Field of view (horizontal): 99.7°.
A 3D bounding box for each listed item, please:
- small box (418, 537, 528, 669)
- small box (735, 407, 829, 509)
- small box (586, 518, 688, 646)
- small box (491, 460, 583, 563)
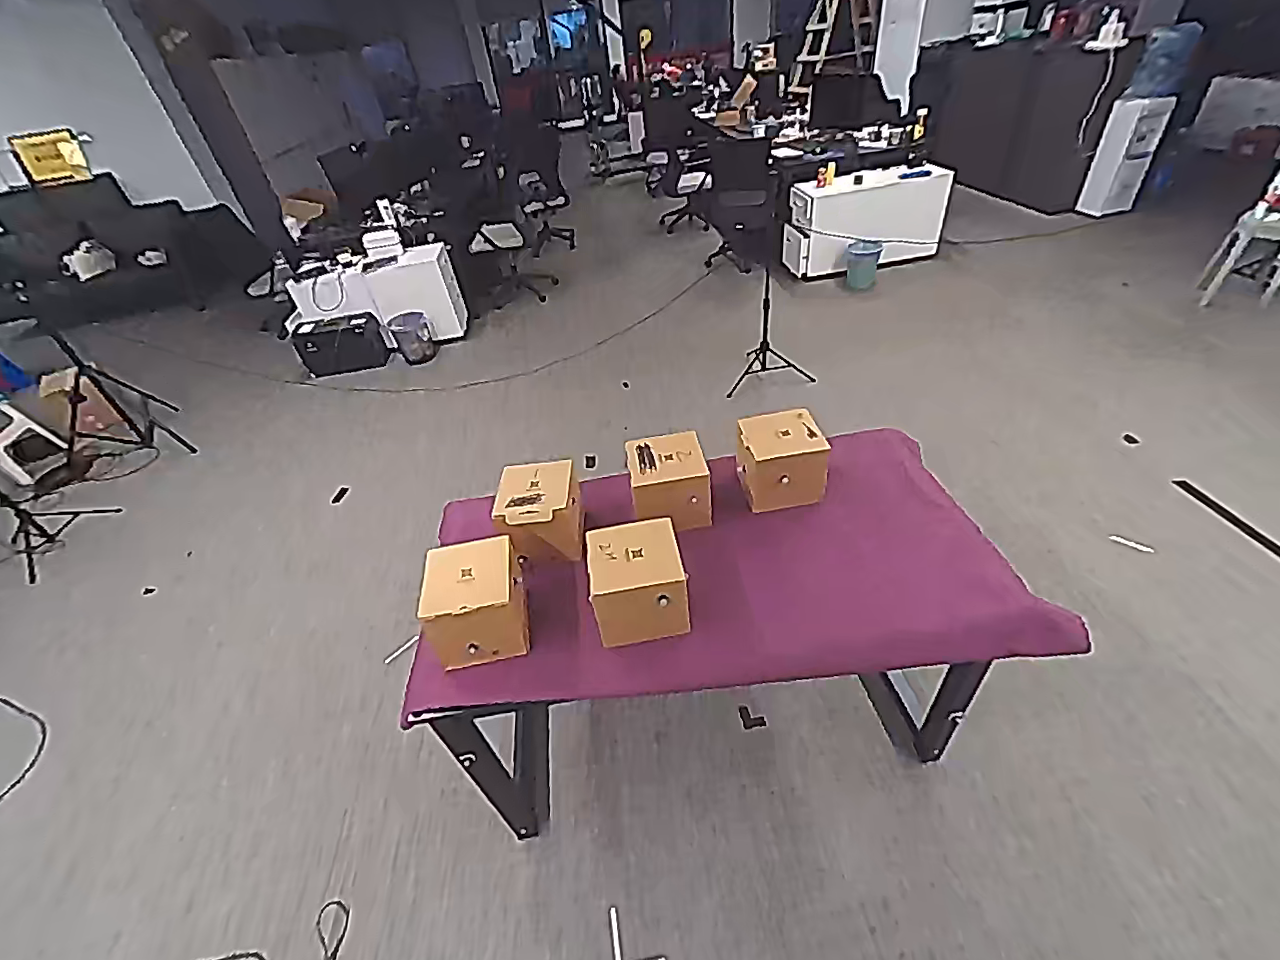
[{"bbox_3d":[-0.324,0.244,1.077,0.168,0.176,0.179,-11,40,-6],"label":"small box"},{"bbox_3d":[0.335,-0.049,1.301,0.179,0.176,0.168,-10,42,0],"label":"small box"},{"bbox_3d":[-0.004,0.203,1.069,0.179,0.176,0.168,-10,40,-1],"label":"small box"},{"bbox_3d":[-0.229,0.079,1.257,0.168,0.176,0.179,-6,40,3],"label":"small box"}]
